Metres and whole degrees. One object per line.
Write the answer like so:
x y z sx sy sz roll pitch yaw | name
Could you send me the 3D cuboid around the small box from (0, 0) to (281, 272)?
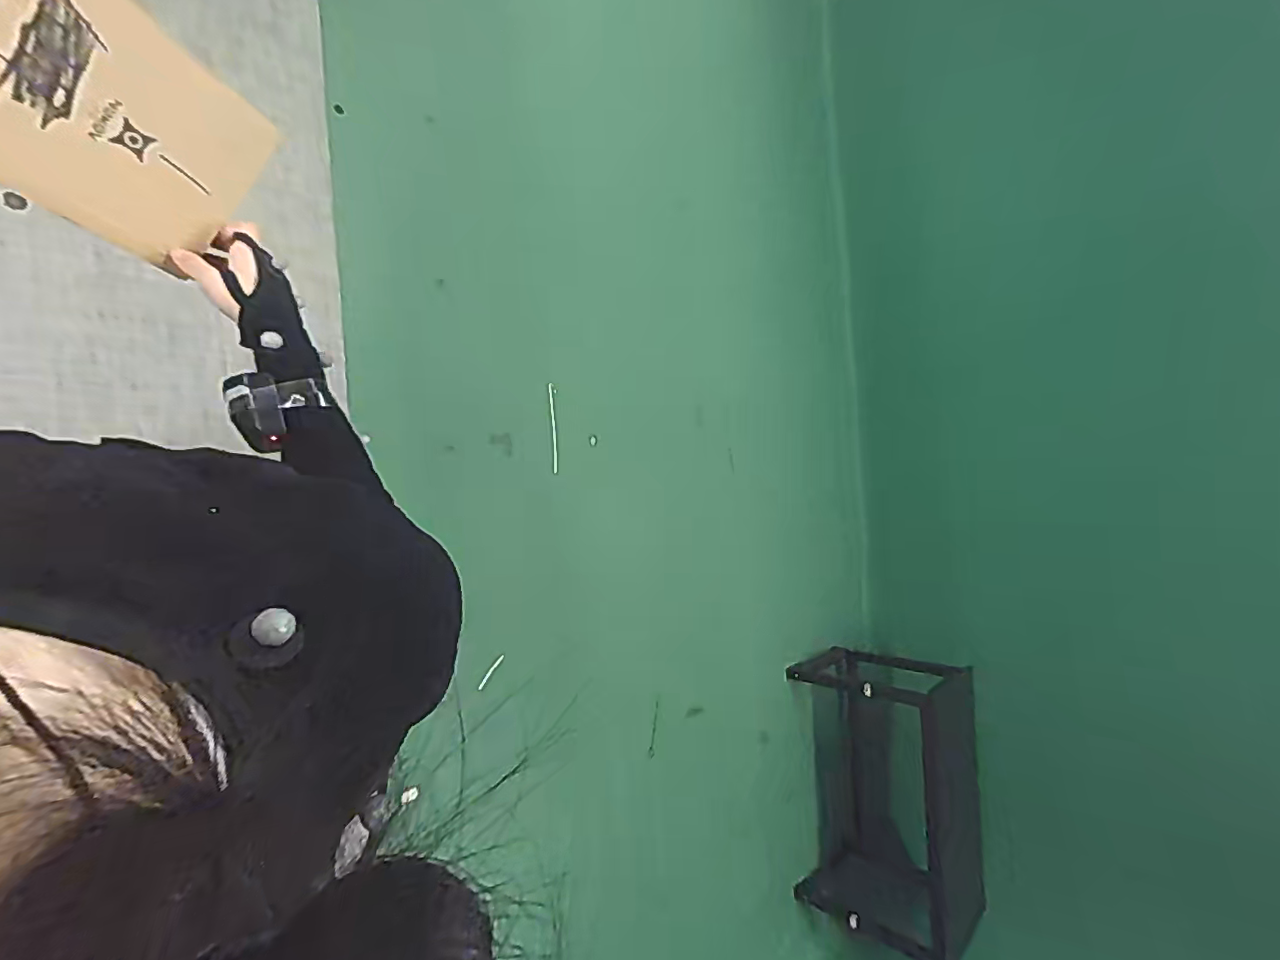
-0.454 -0.307 0.435 0.168 0.176 0.179 -57 157 -2 | small box
